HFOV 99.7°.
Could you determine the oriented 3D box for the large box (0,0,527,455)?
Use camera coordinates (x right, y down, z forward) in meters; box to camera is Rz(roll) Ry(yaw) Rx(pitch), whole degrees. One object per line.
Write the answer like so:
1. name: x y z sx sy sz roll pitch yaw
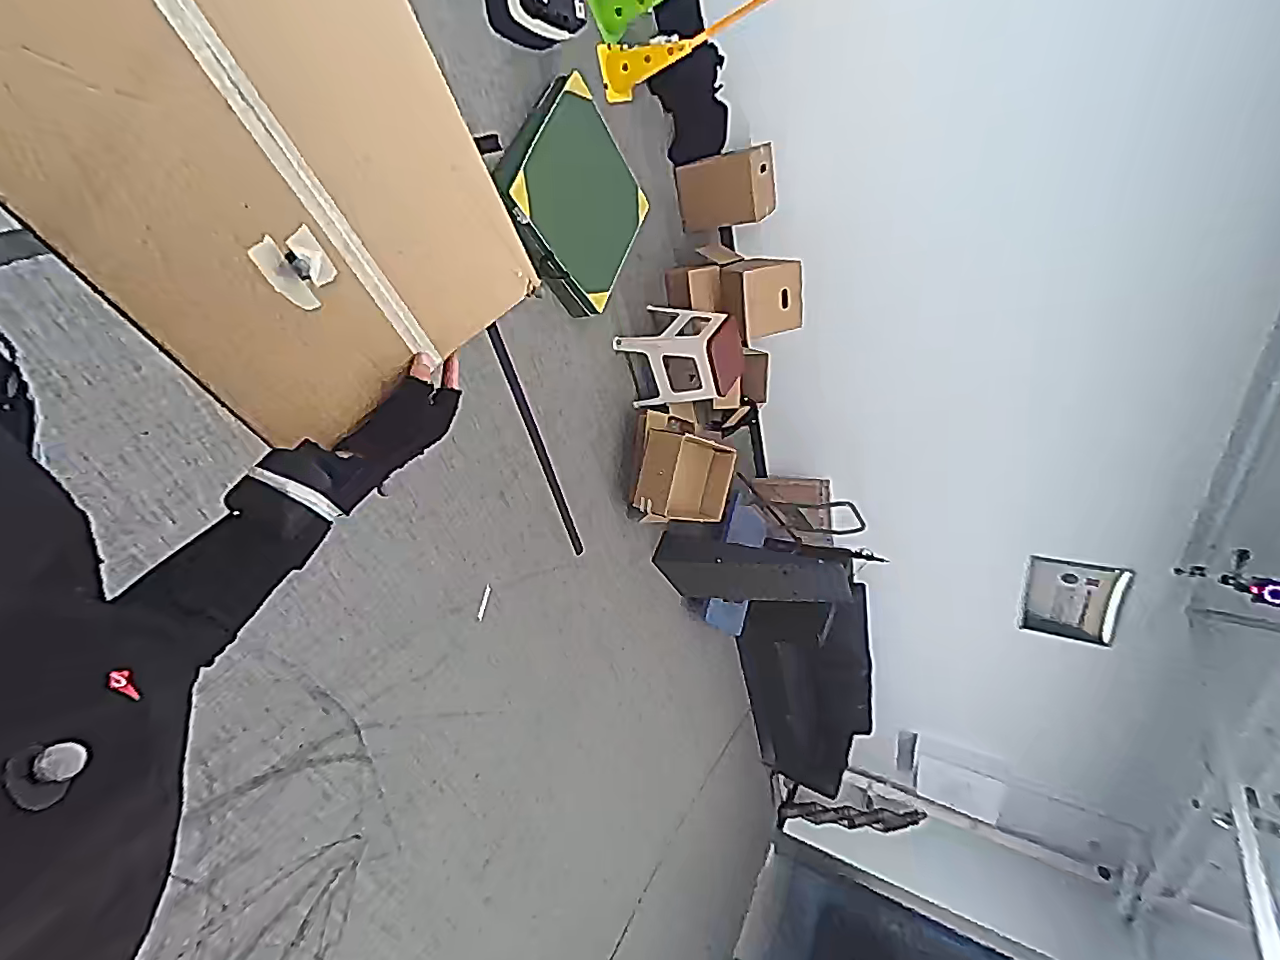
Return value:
1. large box: -0.388 -0.298 0.507 0.320 0.320 0.408 -48 140 -22
